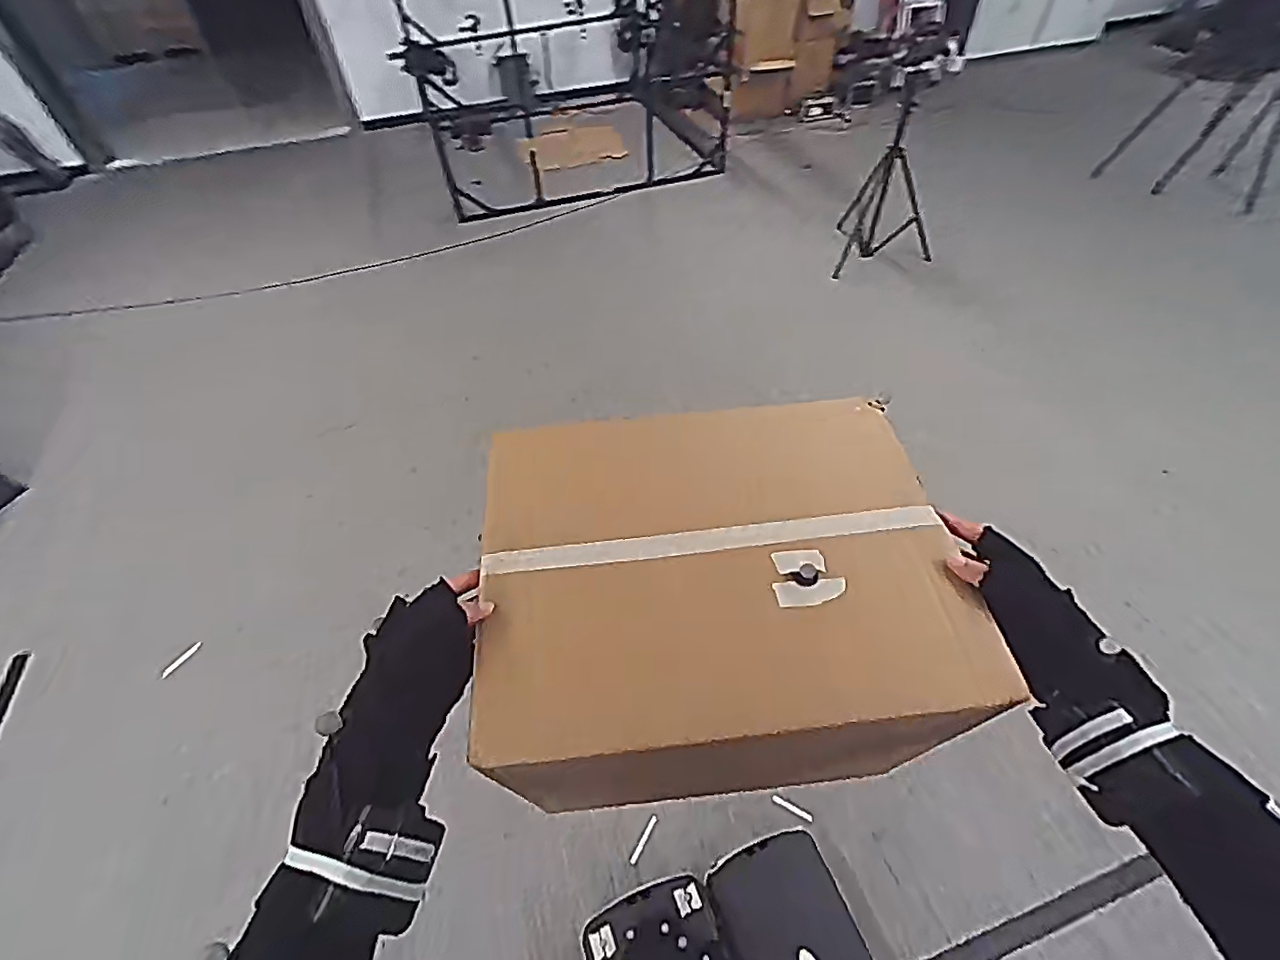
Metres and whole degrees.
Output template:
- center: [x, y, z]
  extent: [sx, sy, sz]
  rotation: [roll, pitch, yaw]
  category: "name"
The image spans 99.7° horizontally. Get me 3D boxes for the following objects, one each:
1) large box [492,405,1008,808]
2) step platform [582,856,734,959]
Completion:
- center: [0.072, 0.149, 0.608]
  extent: [0.408, 0.320, 0.320]
  rotation: [-6, 54, -3]
  category: "large box"
- center: [0.113, 1.164, 1.068]
  extent: [0.286, 0.204, 0.684]
  rotation: [-19, 50, -12]
  category: "step platform"
